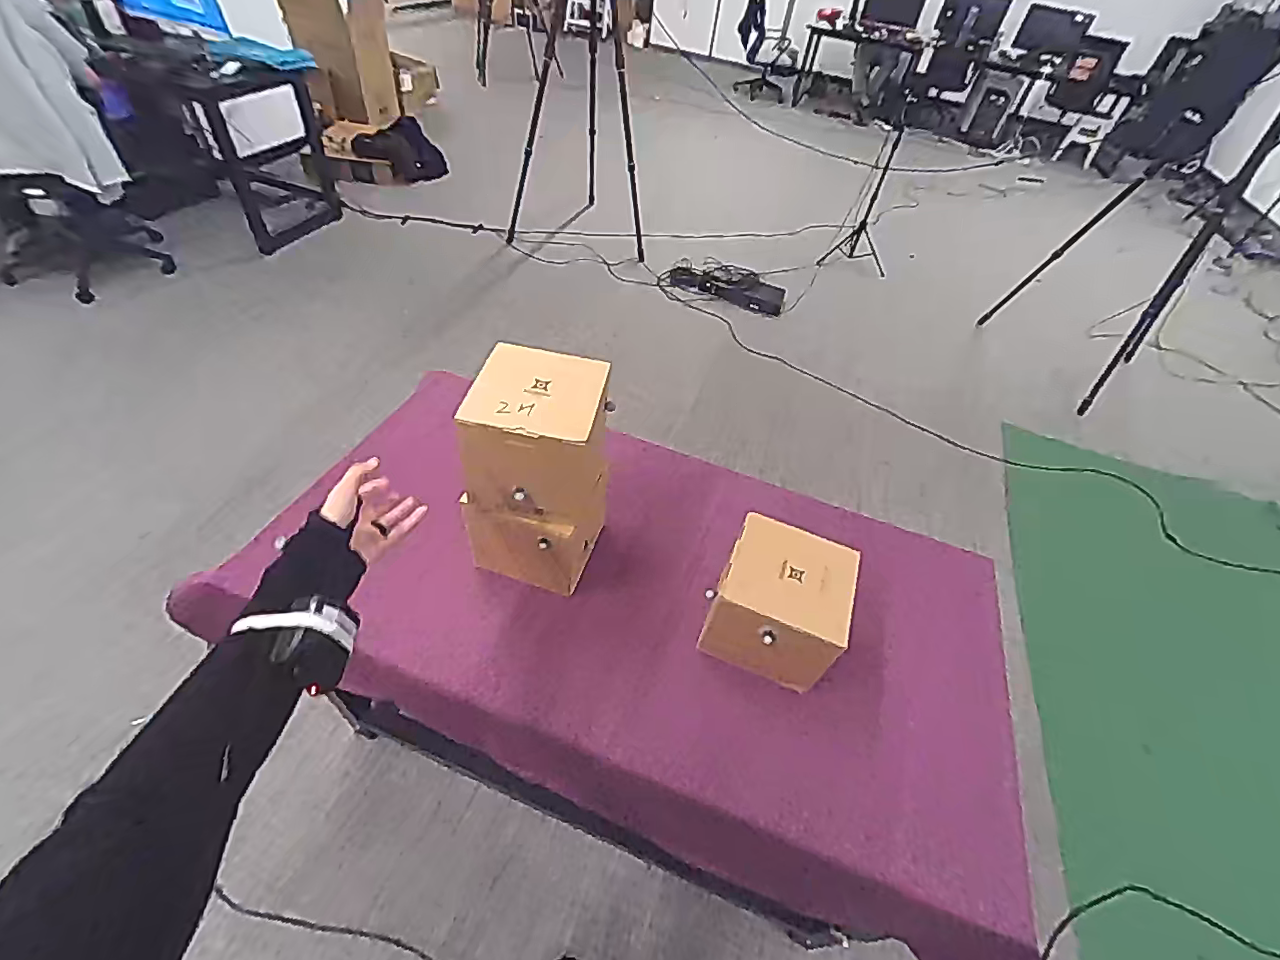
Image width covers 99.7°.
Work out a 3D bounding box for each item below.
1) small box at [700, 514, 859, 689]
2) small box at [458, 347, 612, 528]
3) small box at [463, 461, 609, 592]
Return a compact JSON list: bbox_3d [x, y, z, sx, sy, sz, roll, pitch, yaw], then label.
[{"bbox_3d":[0.205,0.188,0.819,0.179,0.176,0.168,21,49,10],"label":"small box"},{"bbox_3d":[-0.142,-0.059,0.771,0.168,0.176,0.179,10,47,1],"label":"small box"},{"bbox_3d":[-0.164,0.059,0.884,0.179,0.176,0.168,17,47,5],"label":"small box"}]
